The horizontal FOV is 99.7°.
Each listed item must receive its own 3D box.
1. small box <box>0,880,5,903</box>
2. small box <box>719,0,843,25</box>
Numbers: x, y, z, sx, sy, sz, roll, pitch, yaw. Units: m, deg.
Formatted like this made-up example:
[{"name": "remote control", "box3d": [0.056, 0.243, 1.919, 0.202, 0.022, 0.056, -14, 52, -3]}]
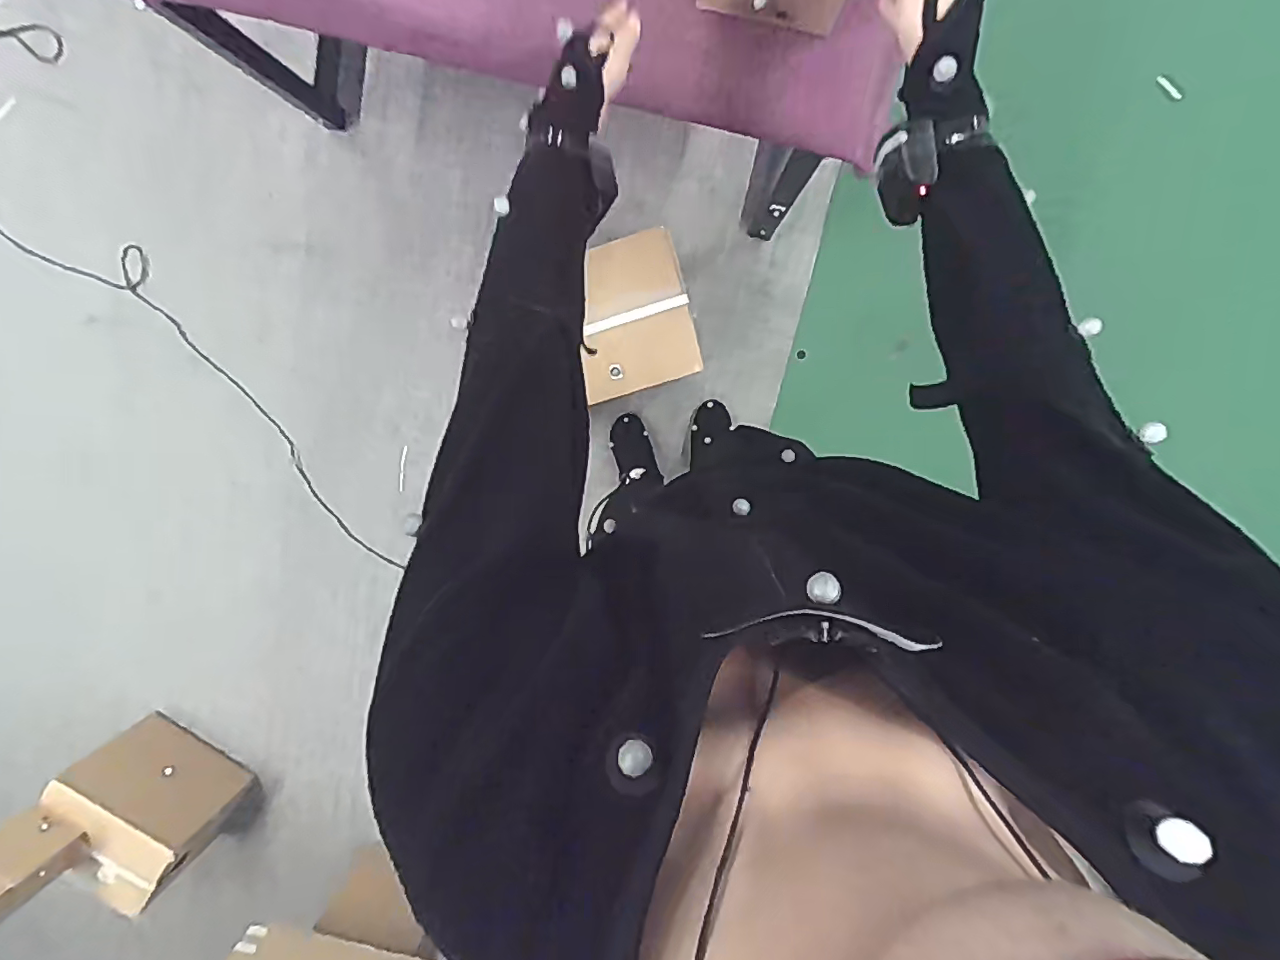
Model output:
[{"name": "small box", "box3d": [-1.707, 1.060, 1.296, 0.168, 0.176, 0.179, 32, 102, -3]}, {"name": "small box", "box3d": [0.165, -0.628, 0.551, 0.168, 0.176, 0.179, 14, 101, 2]}]
